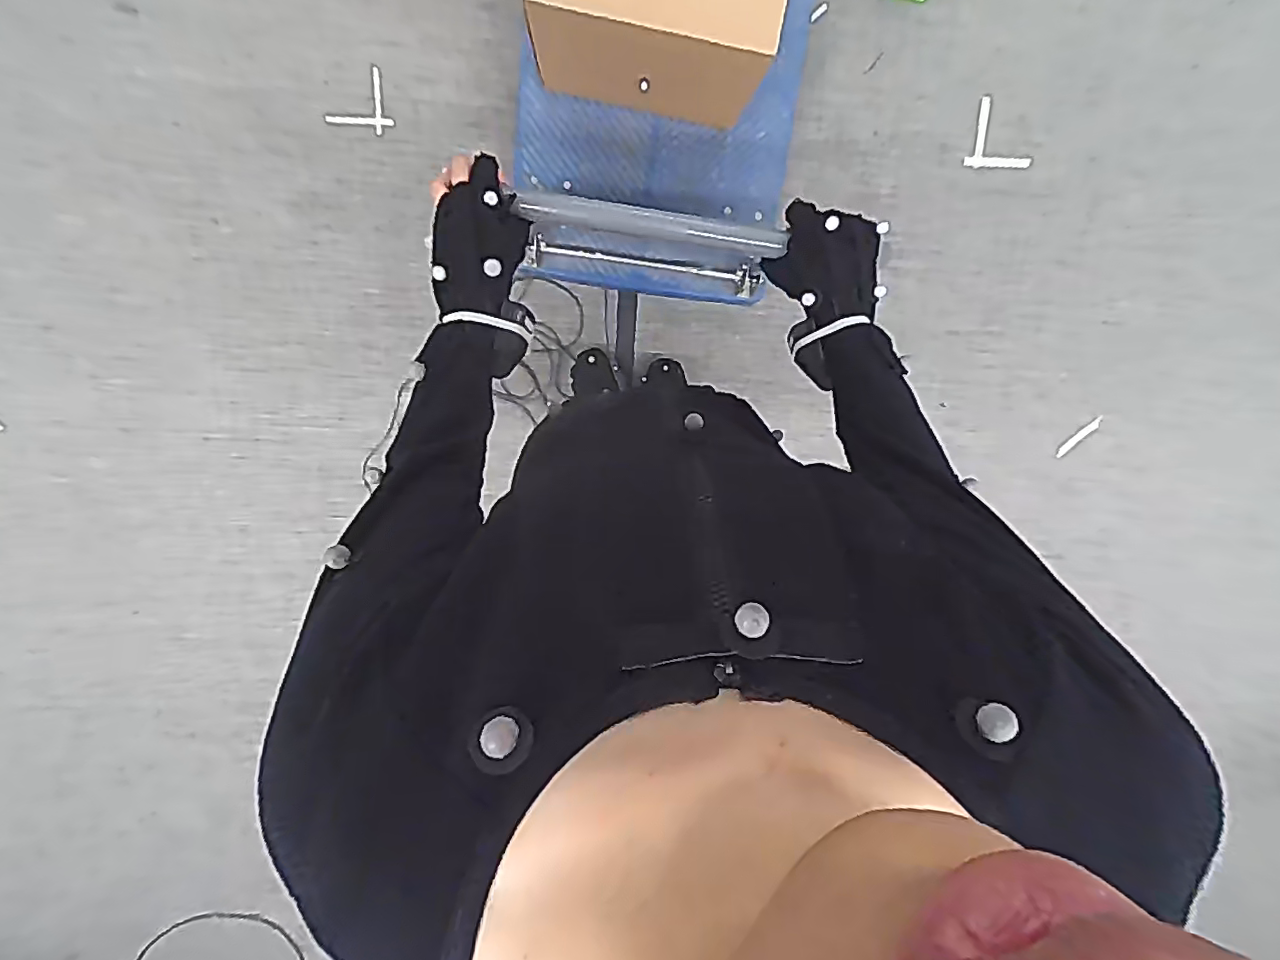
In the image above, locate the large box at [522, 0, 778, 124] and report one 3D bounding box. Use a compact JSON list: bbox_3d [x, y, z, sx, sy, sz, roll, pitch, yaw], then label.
[{"bbox_3d":[0.027,-0.890,0.963,0.408,0.320,0.320,8,103,-5],"label":"large box"}]
